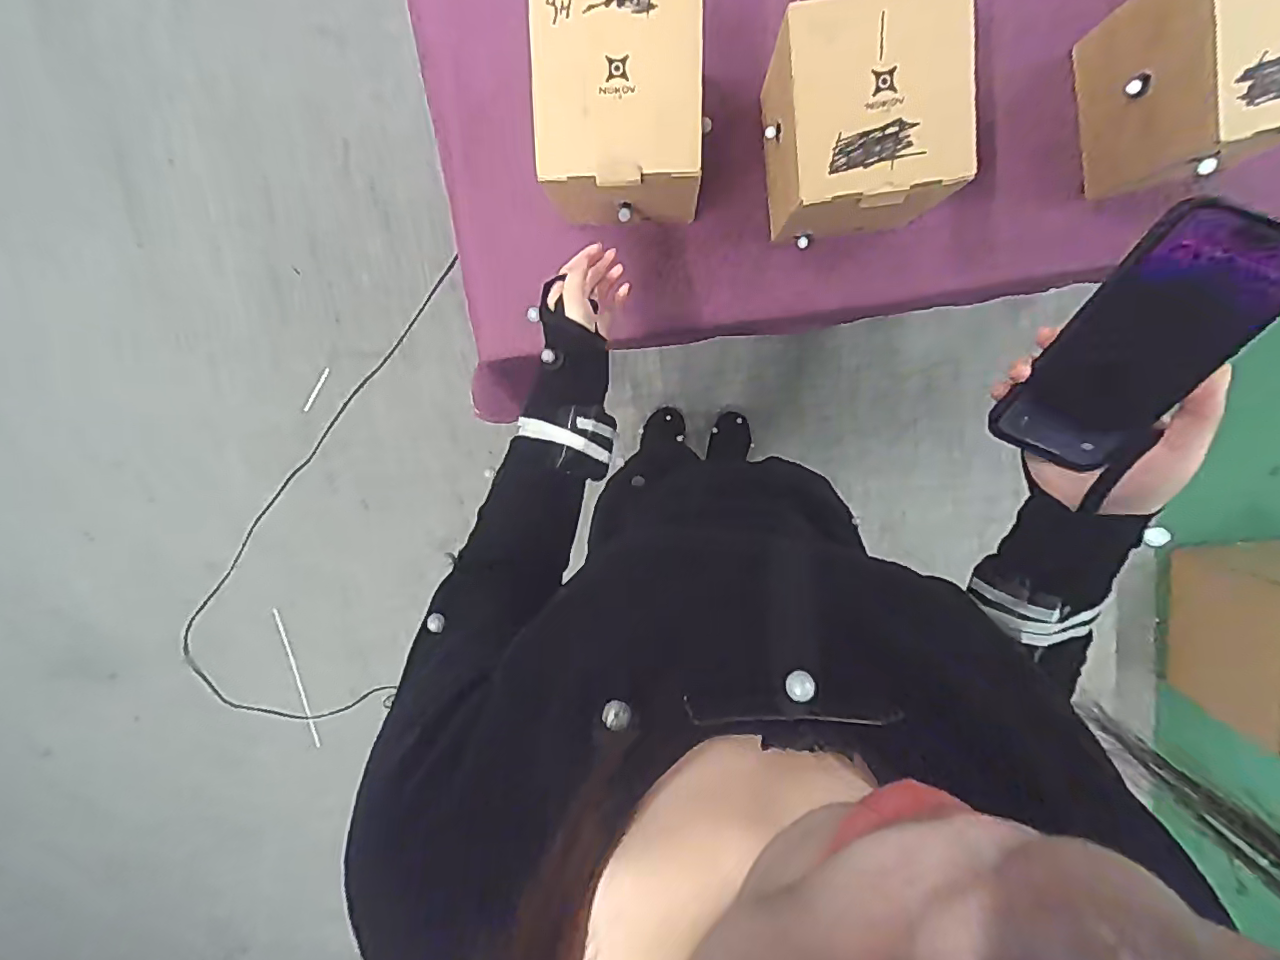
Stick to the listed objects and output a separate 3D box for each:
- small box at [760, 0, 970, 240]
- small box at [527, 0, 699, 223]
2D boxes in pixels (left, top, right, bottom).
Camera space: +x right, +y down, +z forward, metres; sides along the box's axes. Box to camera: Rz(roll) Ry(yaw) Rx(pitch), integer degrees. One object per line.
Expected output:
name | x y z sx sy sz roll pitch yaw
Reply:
small box | 0.229 -0.373 0.585 0.168 0.176 0.179 -6 99 5
small box | -0.020 -0.394 0.598 0.168 0.176 0.179 0 101 4
